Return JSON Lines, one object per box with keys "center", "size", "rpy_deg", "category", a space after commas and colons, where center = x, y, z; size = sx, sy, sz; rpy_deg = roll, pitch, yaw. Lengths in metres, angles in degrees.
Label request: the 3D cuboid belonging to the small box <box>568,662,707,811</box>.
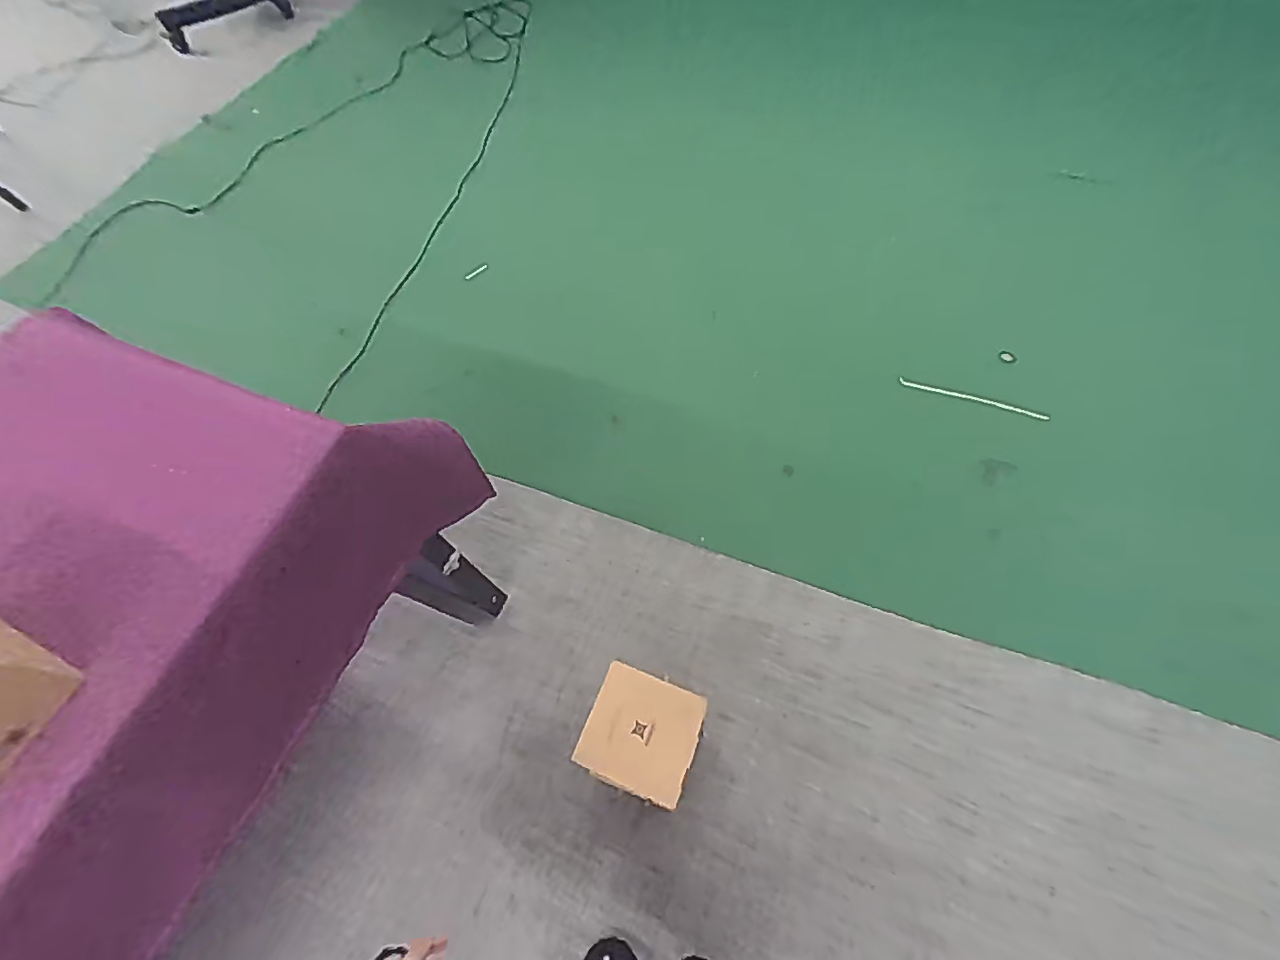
{"center": [0.003, 0.434, 0.921], "size": [0.179, 0.176, 0.168], "rpy_deg": [19, 63, 14], "category": "small box"}
